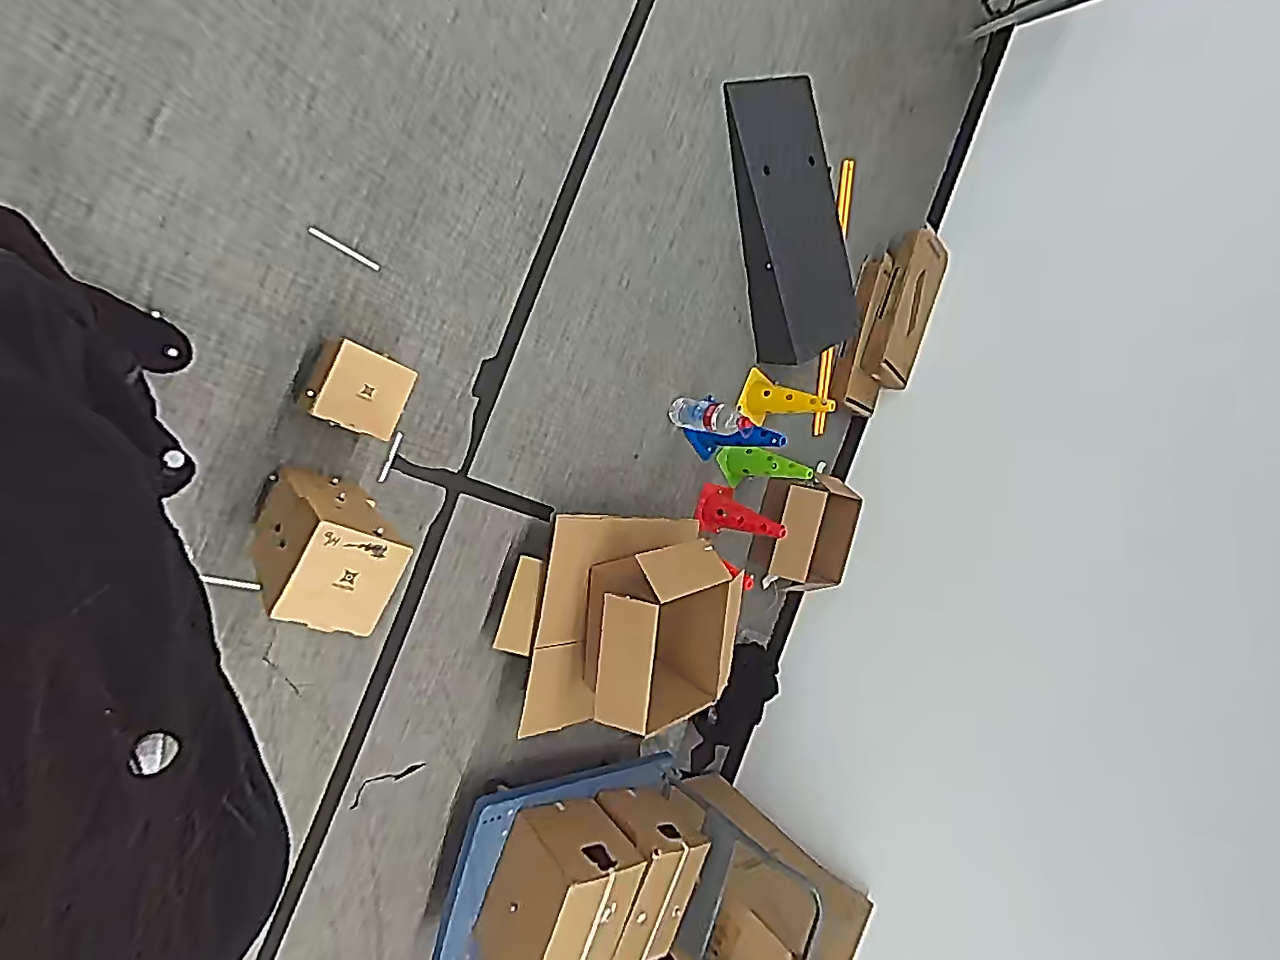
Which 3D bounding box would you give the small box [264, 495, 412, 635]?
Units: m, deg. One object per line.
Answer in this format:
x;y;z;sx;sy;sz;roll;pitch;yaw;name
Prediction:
-0.549;0.149;0.976;0.168;0.176;0.179;31;83;-42;small box

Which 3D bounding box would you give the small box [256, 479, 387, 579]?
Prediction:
-0.651;0.113;1.099;0.168;0.176;0.179;27;86;-42;small box

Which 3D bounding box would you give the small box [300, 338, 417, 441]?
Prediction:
-0.646;-0.211;1.230;0.168;0.176;0.179;25;87;-43;small box

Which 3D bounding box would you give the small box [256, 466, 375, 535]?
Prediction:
-0.743;0.077;1.231;0.179;0.176;0.168;24;88;-43;small box
